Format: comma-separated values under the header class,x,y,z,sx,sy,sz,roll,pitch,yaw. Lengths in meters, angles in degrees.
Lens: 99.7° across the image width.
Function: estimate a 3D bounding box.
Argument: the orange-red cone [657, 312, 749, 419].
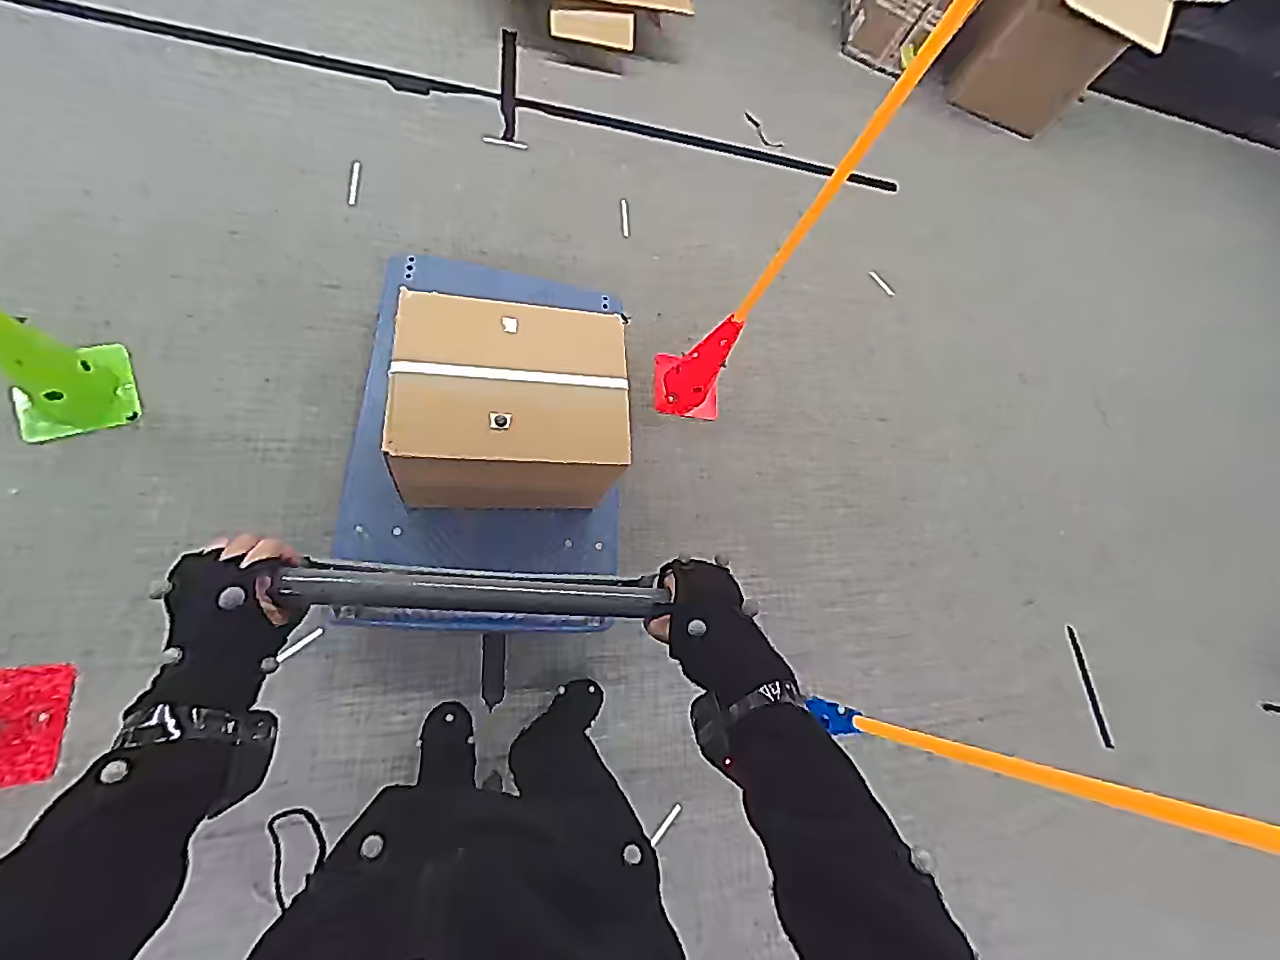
class,x,y,z,sx,sy,sz,roll,pitch,yaw
orange-red cone,0.198,-0.338,1.467,0.199,0.360,0.198,8,70,-16
